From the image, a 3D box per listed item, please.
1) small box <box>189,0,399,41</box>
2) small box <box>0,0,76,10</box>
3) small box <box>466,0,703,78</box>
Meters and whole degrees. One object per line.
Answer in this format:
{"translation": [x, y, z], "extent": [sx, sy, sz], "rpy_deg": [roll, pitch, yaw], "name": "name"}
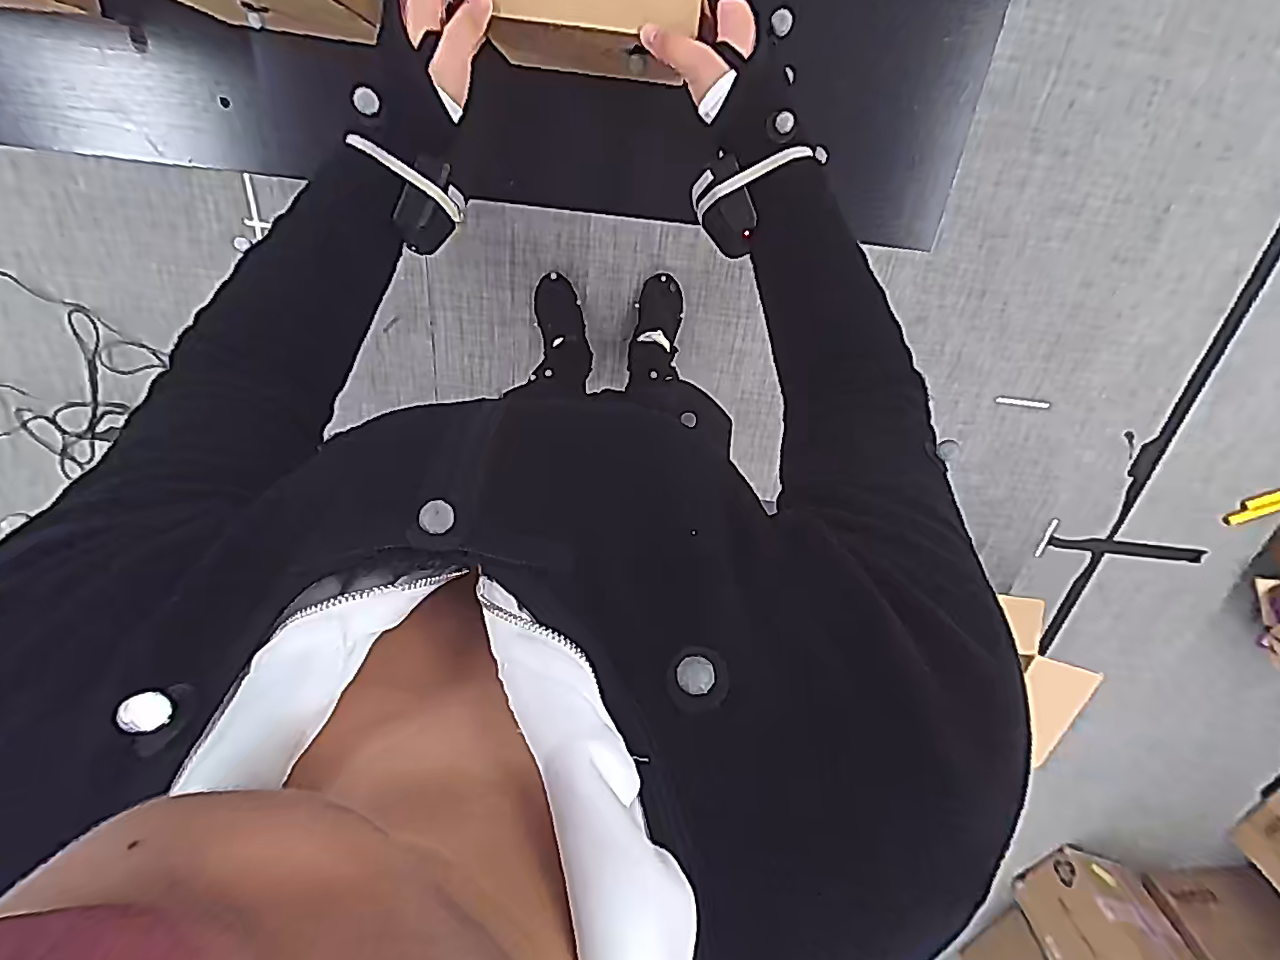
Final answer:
{"translation": [-0.306, -0.475, 0.424], "extent": [0.179, 0.176, 0.168], "rpy_deg": [6, 117, -3], "name": "small box"}
{"translation": [-0.600, -0.493, 0.414], "extent": [0.179, 0.176, 0.168], "rpy_deg": [3, 116, -2], "name": "small box"}
{"translation": [-0.035, -0.449, 0.440], "extent": [0.179, 0.176, 0.168], "rpy_deg": [5, 117, -3], "name": "small box"}
